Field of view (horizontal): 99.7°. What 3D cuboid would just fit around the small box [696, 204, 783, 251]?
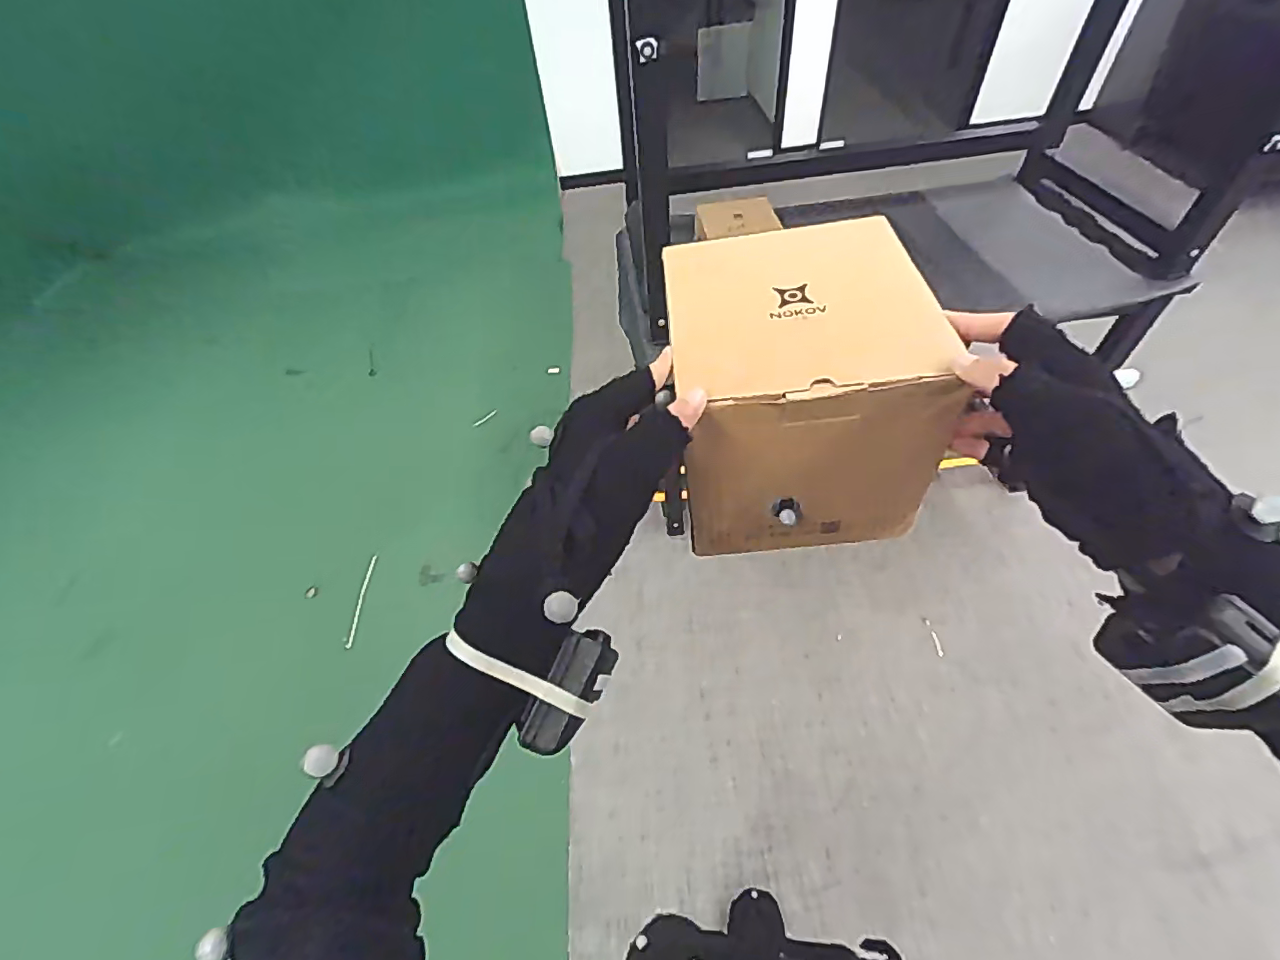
[{"bbox_3d":[0.222,-0.516,1.260,0.168,0.176,0.179,-7,50,0],"label":"small box"}]

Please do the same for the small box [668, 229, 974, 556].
[{"bbox_3d":[0.112,-0.063,0.417,0.168,0.176,0.179,-6,51,5],"label":"small box"}]
